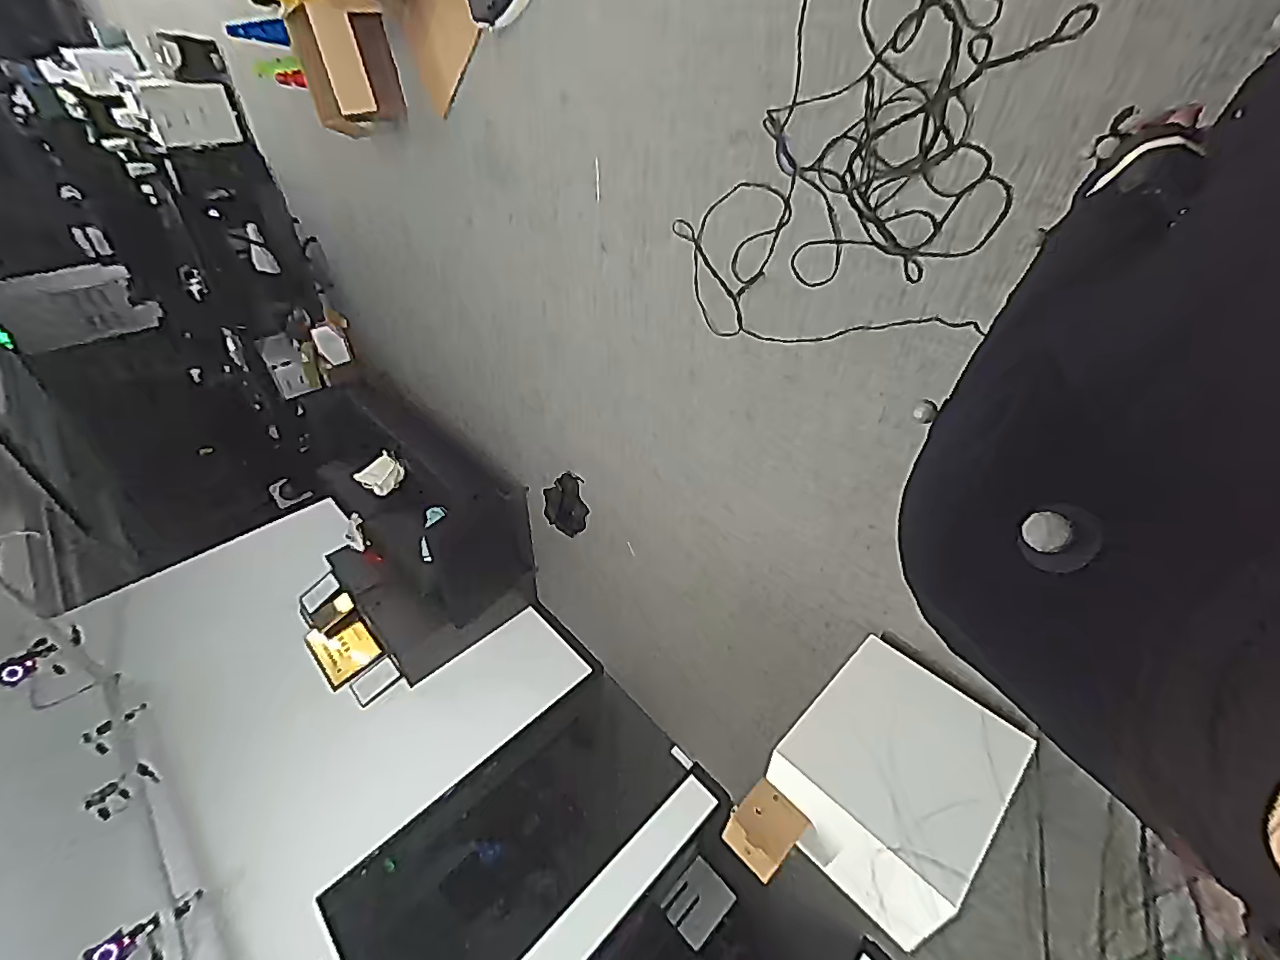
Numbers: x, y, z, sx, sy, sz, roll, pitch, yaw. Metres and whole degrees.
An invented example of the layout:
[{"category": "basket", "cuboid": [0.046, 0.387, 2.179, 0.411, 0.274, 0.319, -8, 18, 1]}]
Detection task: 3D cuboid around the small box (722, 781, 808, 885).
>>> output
[{"category": "small box", "cuboid": [0.369, 1.030, 1.589, 0.168, 0.176, 0.179, 36, 141, 32]}]
